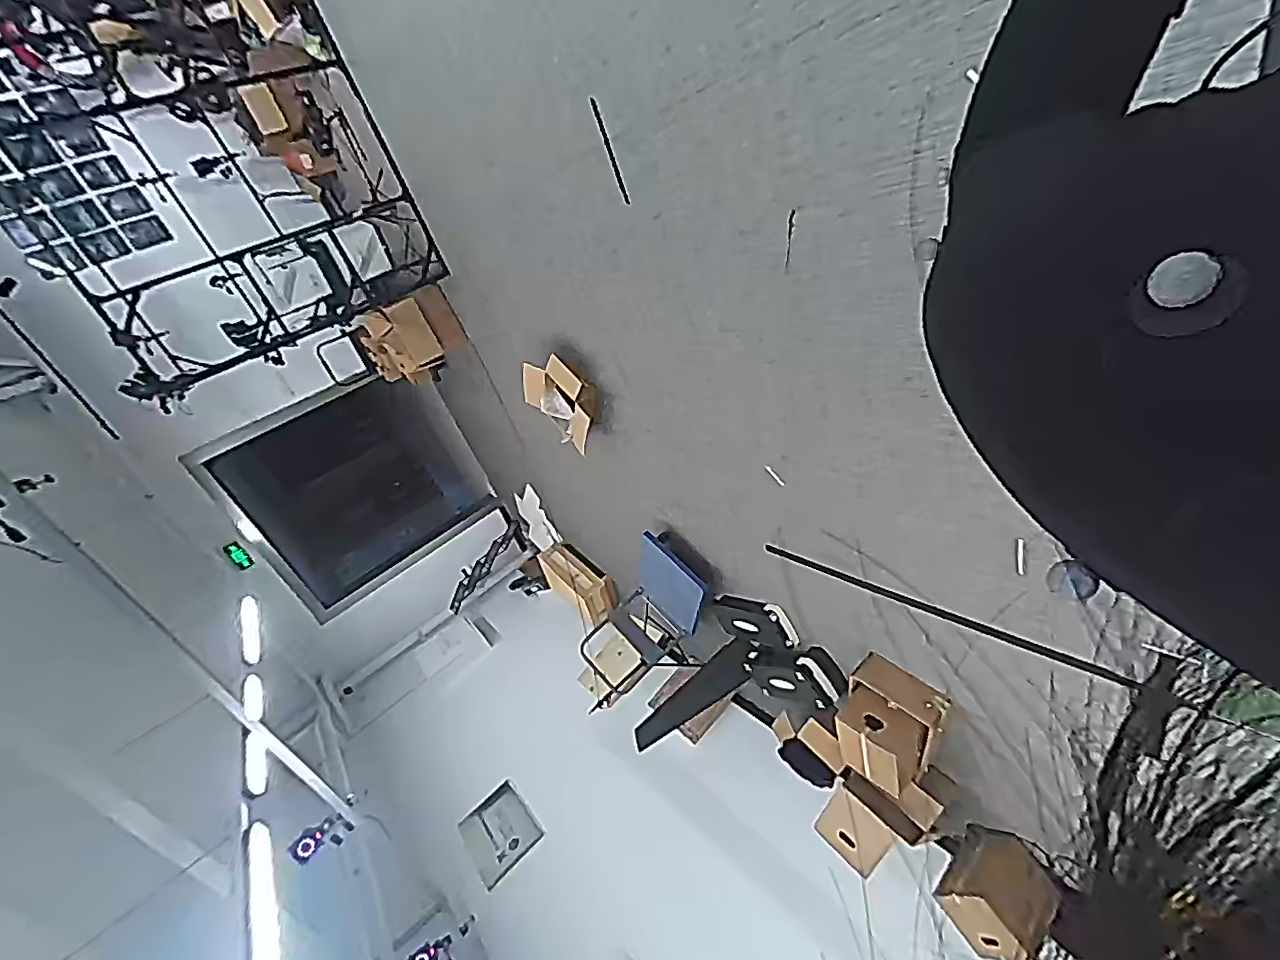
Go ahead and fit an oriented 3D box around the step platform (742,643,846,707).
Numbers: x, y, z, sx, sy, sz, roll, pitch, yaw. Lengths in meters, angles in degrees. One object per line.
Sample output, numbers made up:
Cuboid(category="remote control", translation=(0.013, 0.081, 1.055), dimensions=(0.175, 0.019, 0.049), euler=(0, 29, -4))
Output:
Cuboid(category="step platform", translation=(0.914, 1.179, 3.302), dimensions=(0.286, 0.204, 0.684), euler=(54, 154, -1))
